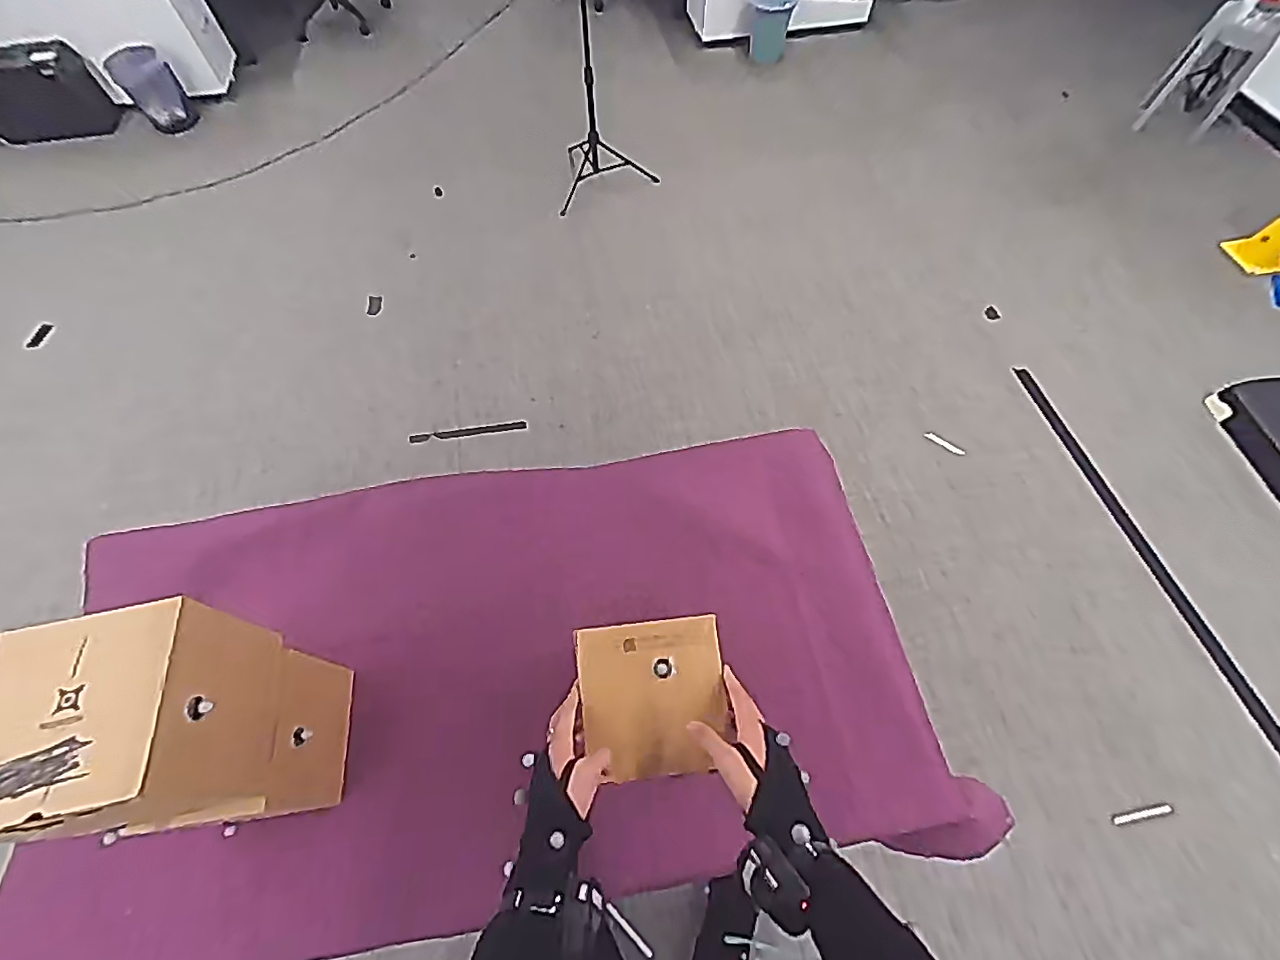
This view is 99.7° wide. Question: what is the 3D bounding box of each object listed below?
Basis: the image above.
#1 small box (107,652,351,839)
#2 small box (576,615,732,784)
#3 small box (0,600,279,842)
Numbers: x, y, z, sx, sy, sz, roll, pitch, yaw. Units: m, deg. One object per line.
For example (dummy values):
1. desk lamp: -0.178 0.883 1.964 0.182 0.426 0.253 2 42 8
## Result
1. small box: -0.490 0.329 0.680 0.168 0.176 0.179 -7 61 -4
2. small box: 0.011 0.265 0.688 0.168 0.179 0.176 -6 74 -2
3. small box: -0.497 0.241 0.541 0.168 0.176 0.179 -11 61 -6
